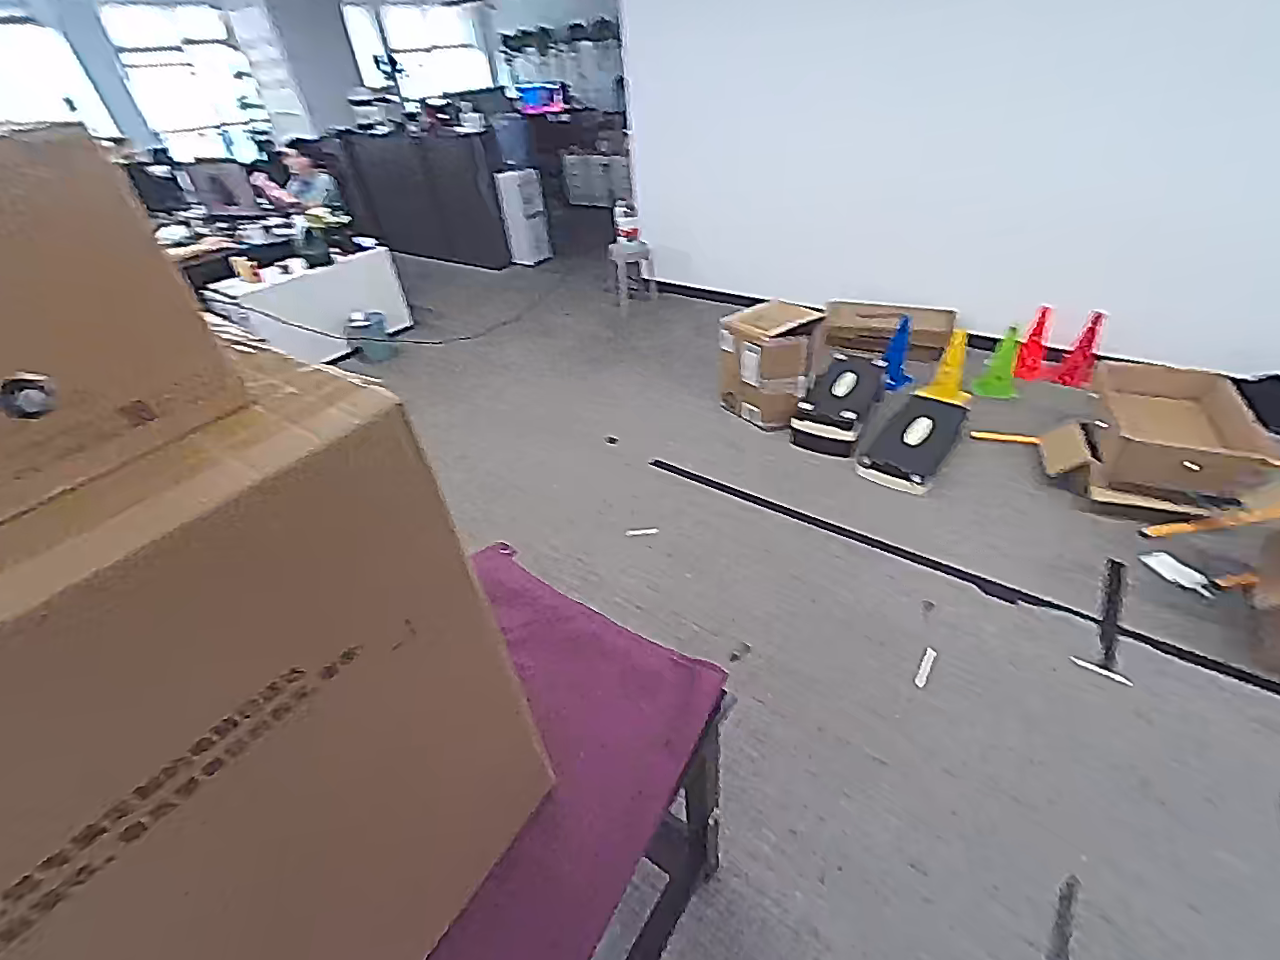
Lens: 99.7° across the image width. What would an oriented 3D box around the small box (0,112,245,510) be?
[{"bbox_3d":[-0.388,-0.101,0.312,0.179,0.176,0.168,19,45,26],"label":"small box"}]
